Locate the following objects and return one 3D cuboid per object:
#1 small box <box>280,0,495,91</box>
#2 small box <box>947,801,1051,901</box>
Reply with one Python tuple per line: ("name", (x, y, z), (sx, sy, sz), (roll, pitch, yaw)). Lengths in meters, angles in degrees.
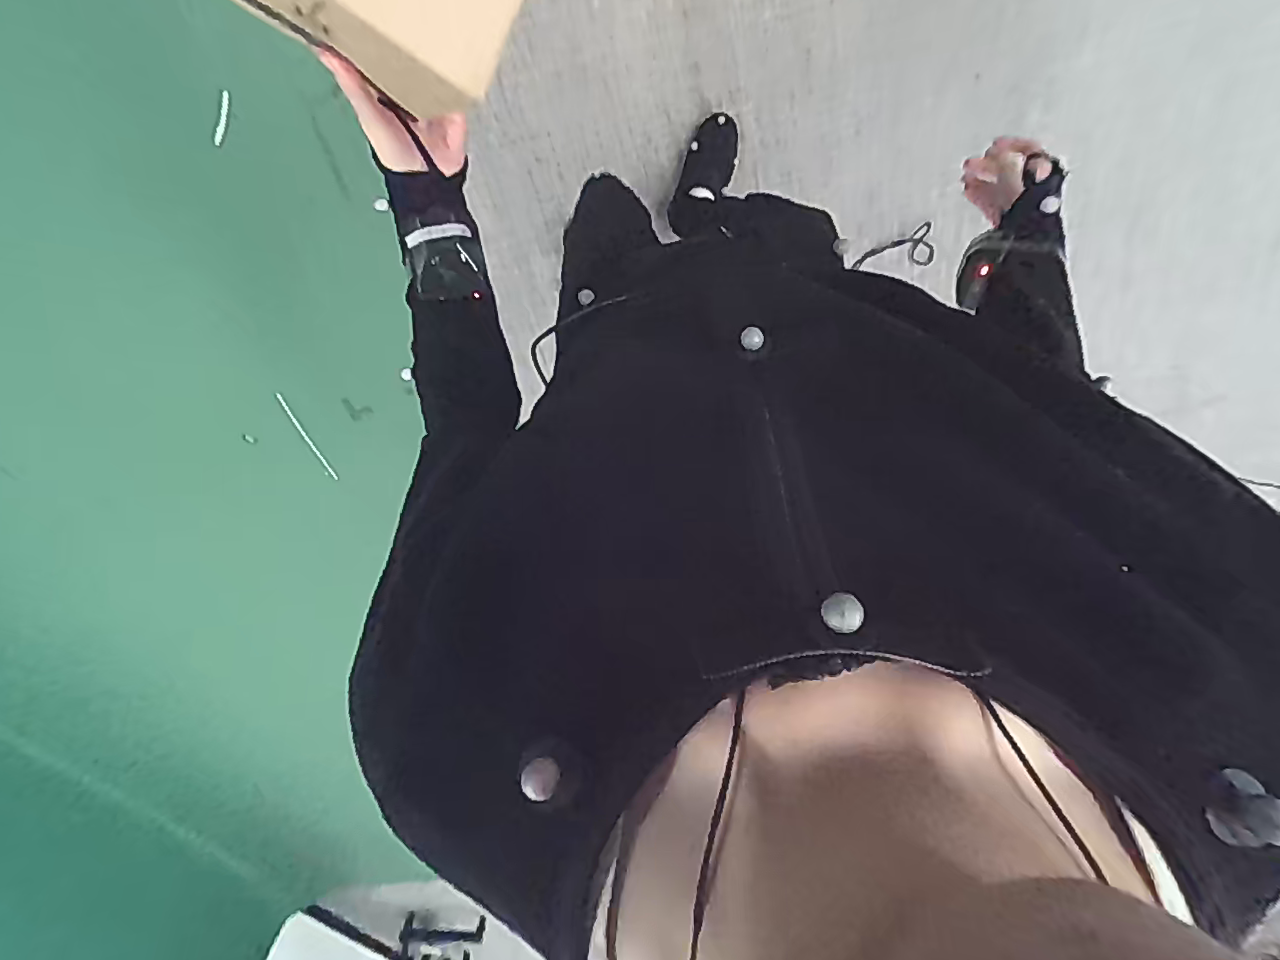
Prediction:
("small box", (-0.154, -0.353, 0.284), (0.168, 0.179, 0.176), (16, 104, -42))
("small box", (0.934, 0.977, 1.425), (0.168, 0.176, 0.179), (-12, 124, 9))
